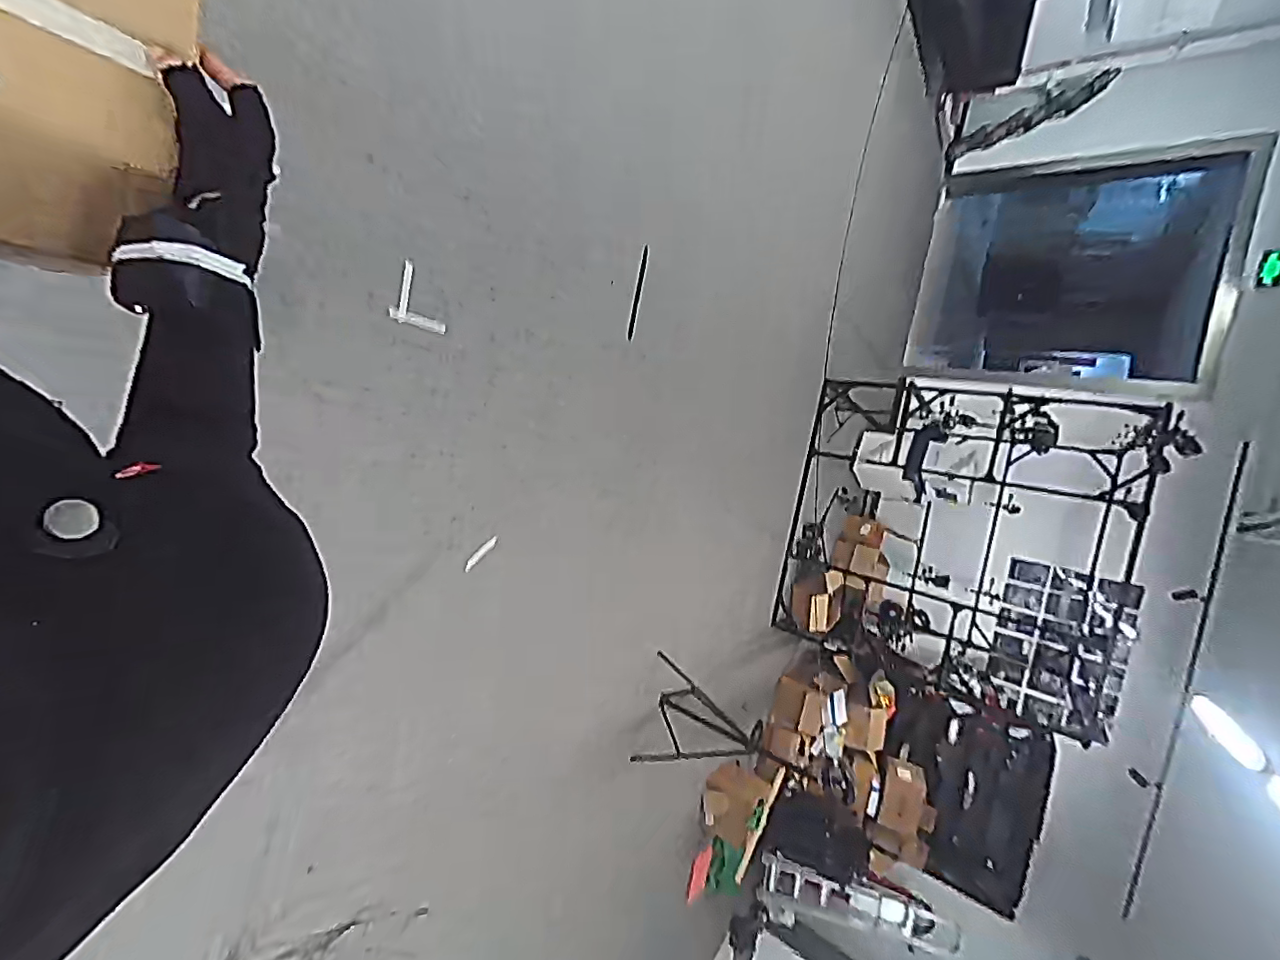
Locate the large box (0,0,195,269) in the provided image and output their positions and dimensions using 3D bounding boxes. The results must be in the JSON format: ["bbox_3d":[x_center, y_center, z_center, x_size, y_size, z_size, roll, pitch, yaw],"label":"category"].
[{"bbox_3d":[-0.603,-0.355,0.360,0.408,0.320,0.320,-2,106,-57],"label":"large box"}]
